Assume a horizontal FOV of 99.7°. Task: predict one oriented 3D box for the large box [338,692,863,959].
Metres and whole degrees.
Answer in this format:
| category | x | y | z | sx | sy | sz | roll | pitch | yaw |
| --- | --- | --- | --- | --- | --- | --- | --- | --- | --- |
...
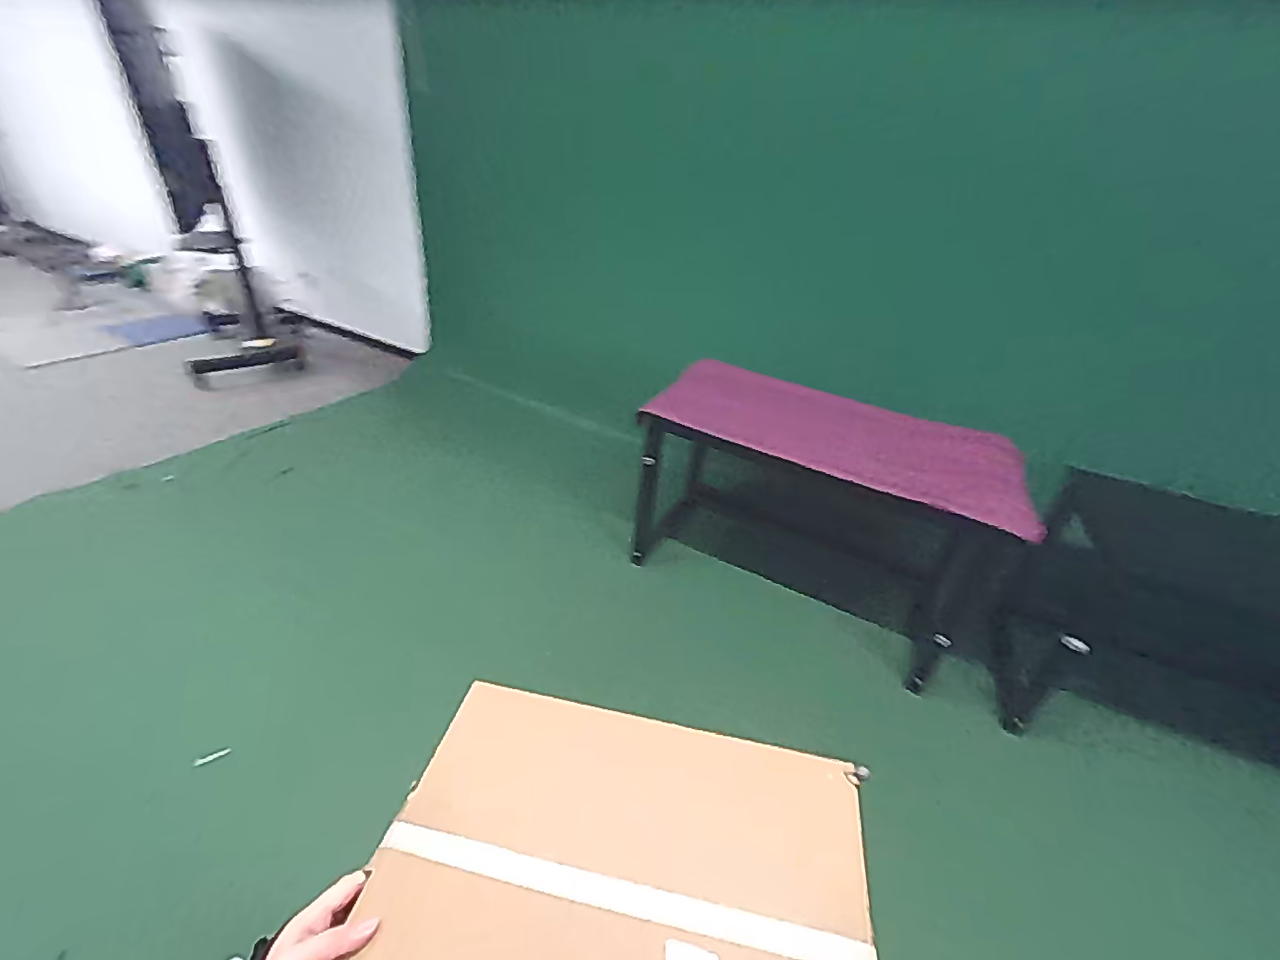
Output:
| category | x | y | z | sx | sy | sz | roll | pitch | yaw |
| --- | --- | --- | --- | --- | --- | --- | --- | --- | --- |
| large box | -0.027 | 0.466 | 0.534 | 0.408 | 0.320 | 0.320 | 9 | 36 | 7 |
